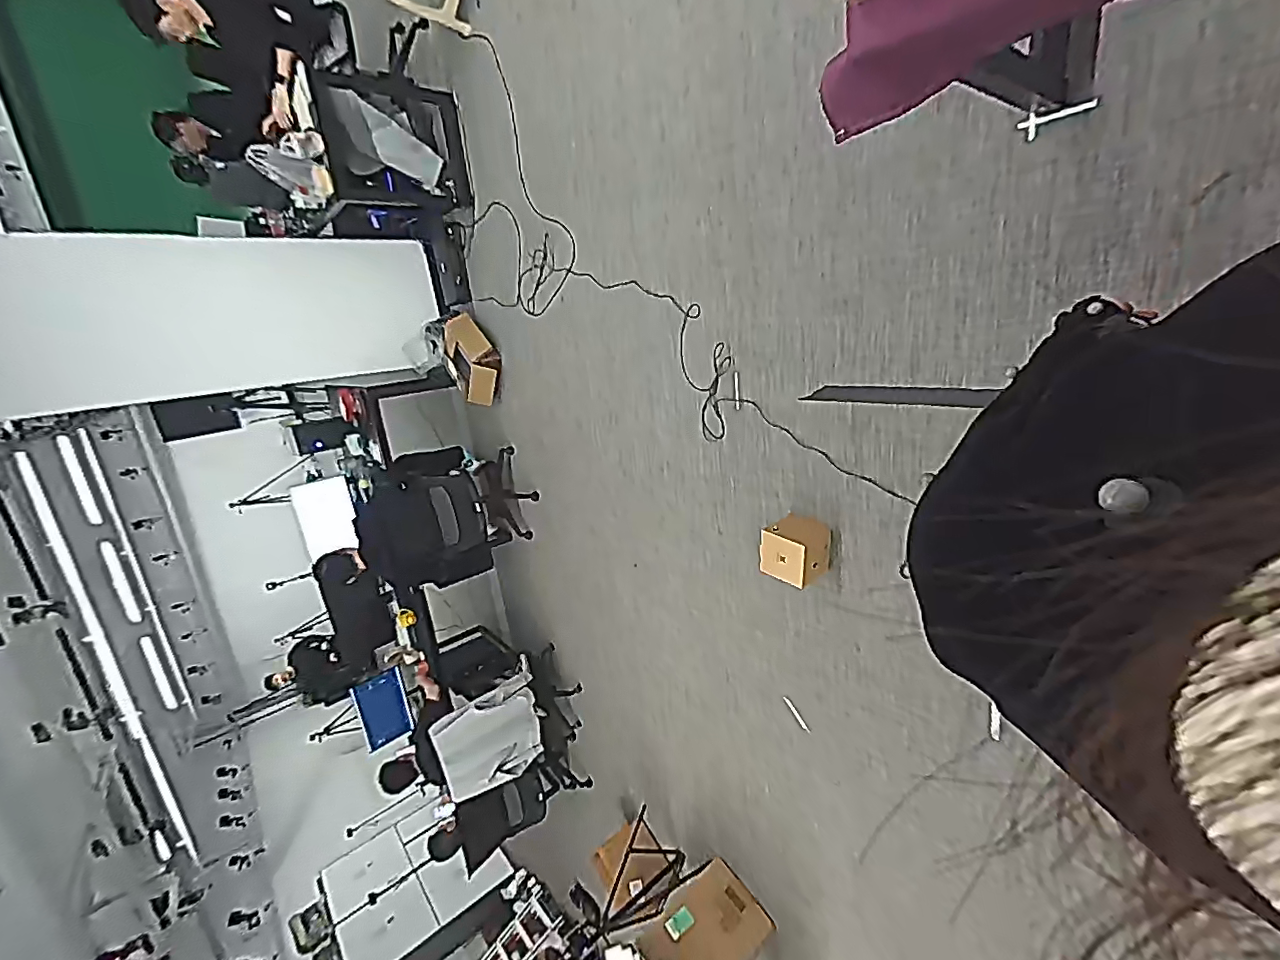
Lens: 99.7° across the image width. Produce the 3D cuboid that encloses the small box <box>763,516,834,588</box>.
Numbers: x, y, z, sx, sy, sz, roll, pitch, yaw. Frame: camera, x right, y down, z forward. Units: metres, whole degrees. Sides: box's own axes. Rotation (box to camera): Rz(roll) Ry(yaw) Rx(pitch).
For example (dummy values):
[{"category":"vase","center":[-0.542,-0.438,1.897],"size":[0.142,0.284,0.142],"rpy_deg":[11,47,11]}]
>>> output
[{"category":"small box","center":[0.545,0.240,1.861],"size":[0.179,0.176,0.168],"rpy_deg":[21,122,47]}]
